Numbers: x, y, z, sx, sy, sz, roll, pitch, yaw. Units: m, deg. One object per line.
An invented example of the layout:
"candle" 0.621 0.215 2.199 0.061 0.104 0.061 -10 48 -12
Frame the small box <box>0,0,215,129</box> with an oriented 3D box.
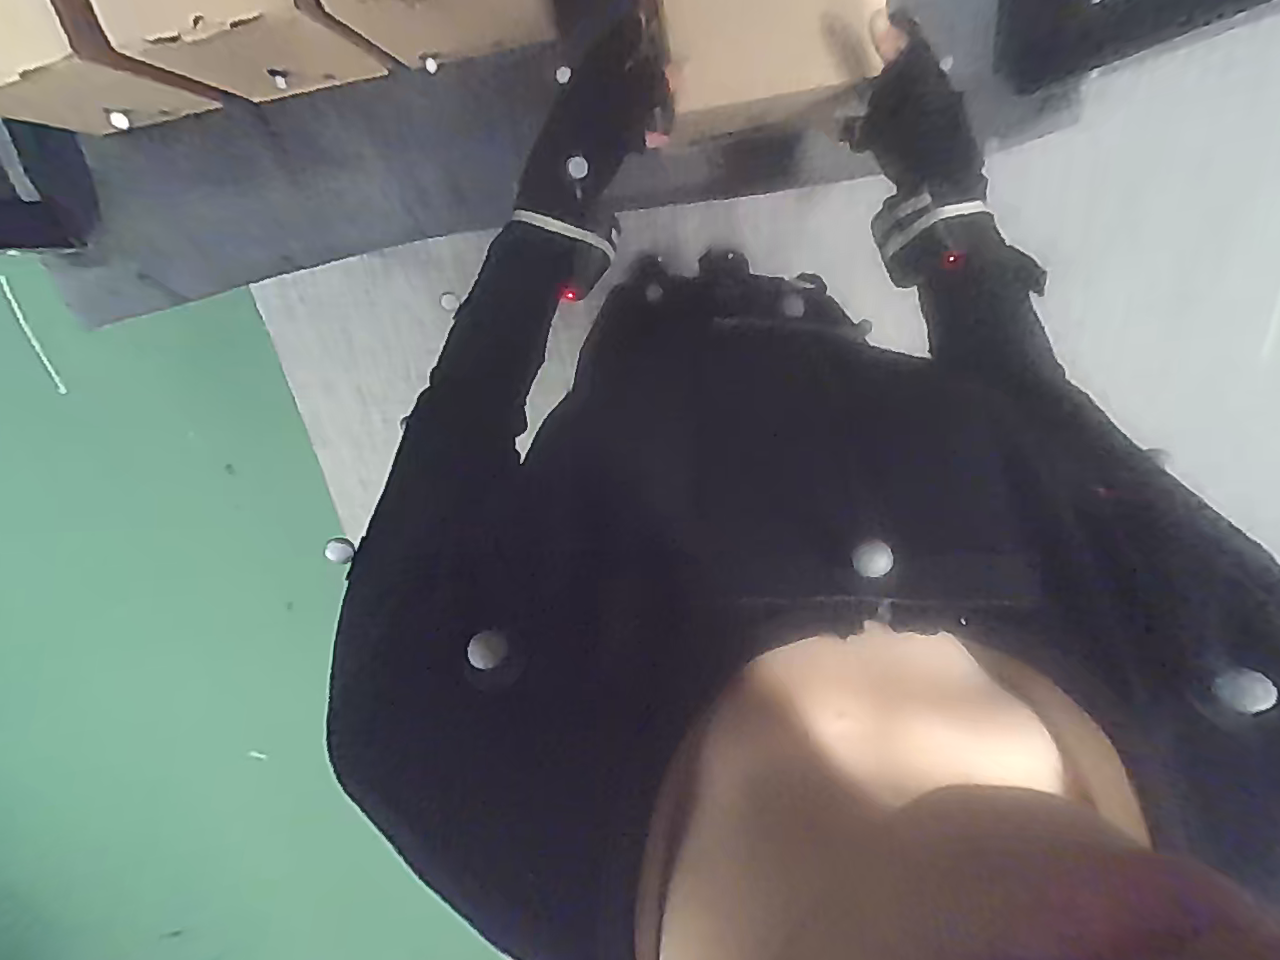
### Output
"small box" -0.553 -0.450 0.492 0.168 0.176 0.179 -8 113 6
